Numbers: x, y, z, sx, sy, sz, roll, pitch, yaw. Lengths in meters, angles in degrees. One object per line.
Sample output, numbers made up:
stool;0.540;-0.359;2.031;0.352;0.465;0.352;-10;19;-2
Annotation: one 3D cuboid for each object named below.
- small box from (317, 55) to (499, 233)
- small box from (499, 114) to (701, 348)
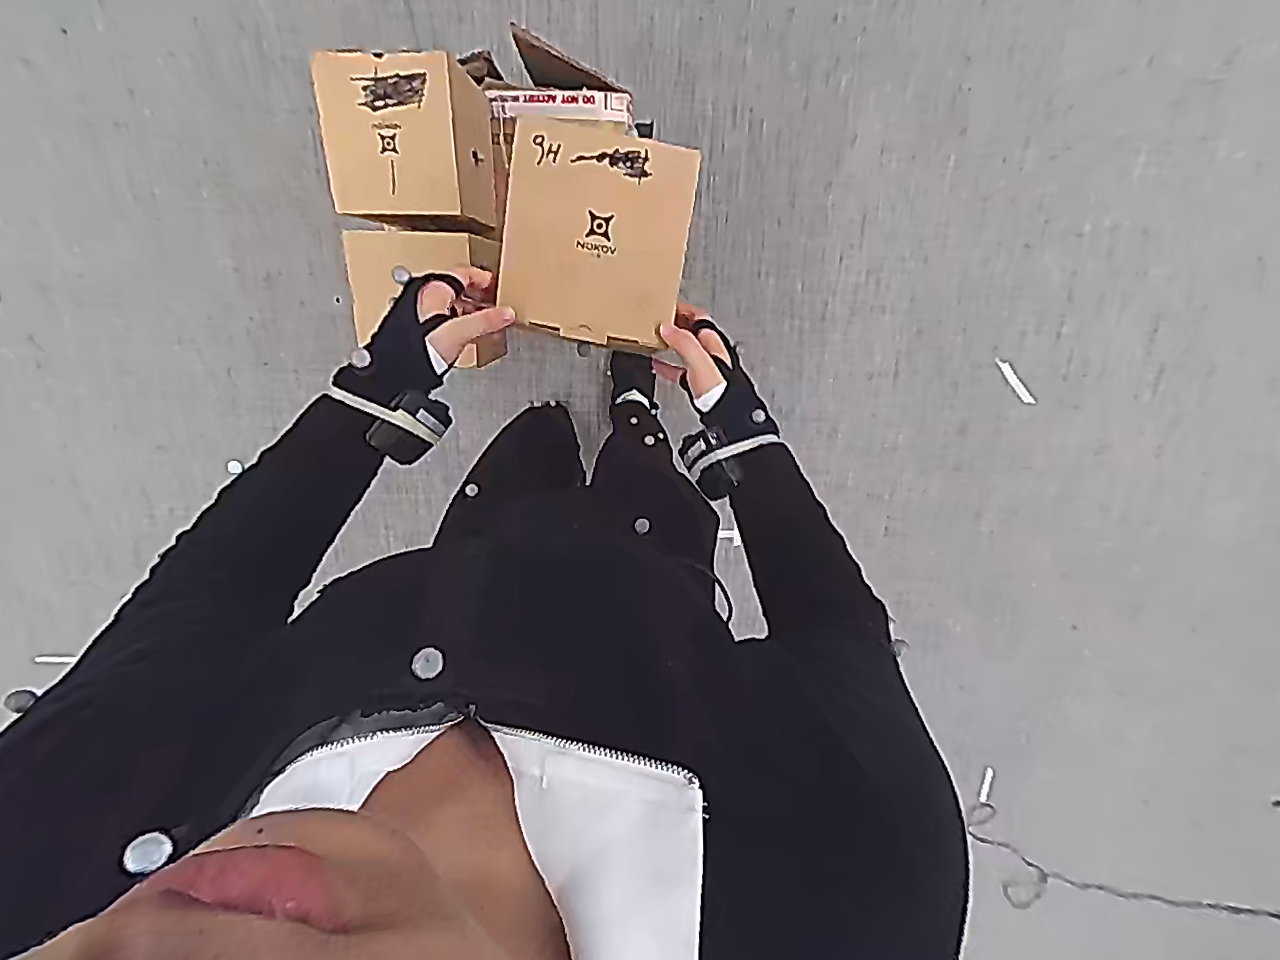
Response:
small box;-0.299;-0.443;0.738;0.168;0.176;0.179;1;110;2
small box;-0.043;-0.240;0.571;0.168;0.176;0.179;8;101;-6
